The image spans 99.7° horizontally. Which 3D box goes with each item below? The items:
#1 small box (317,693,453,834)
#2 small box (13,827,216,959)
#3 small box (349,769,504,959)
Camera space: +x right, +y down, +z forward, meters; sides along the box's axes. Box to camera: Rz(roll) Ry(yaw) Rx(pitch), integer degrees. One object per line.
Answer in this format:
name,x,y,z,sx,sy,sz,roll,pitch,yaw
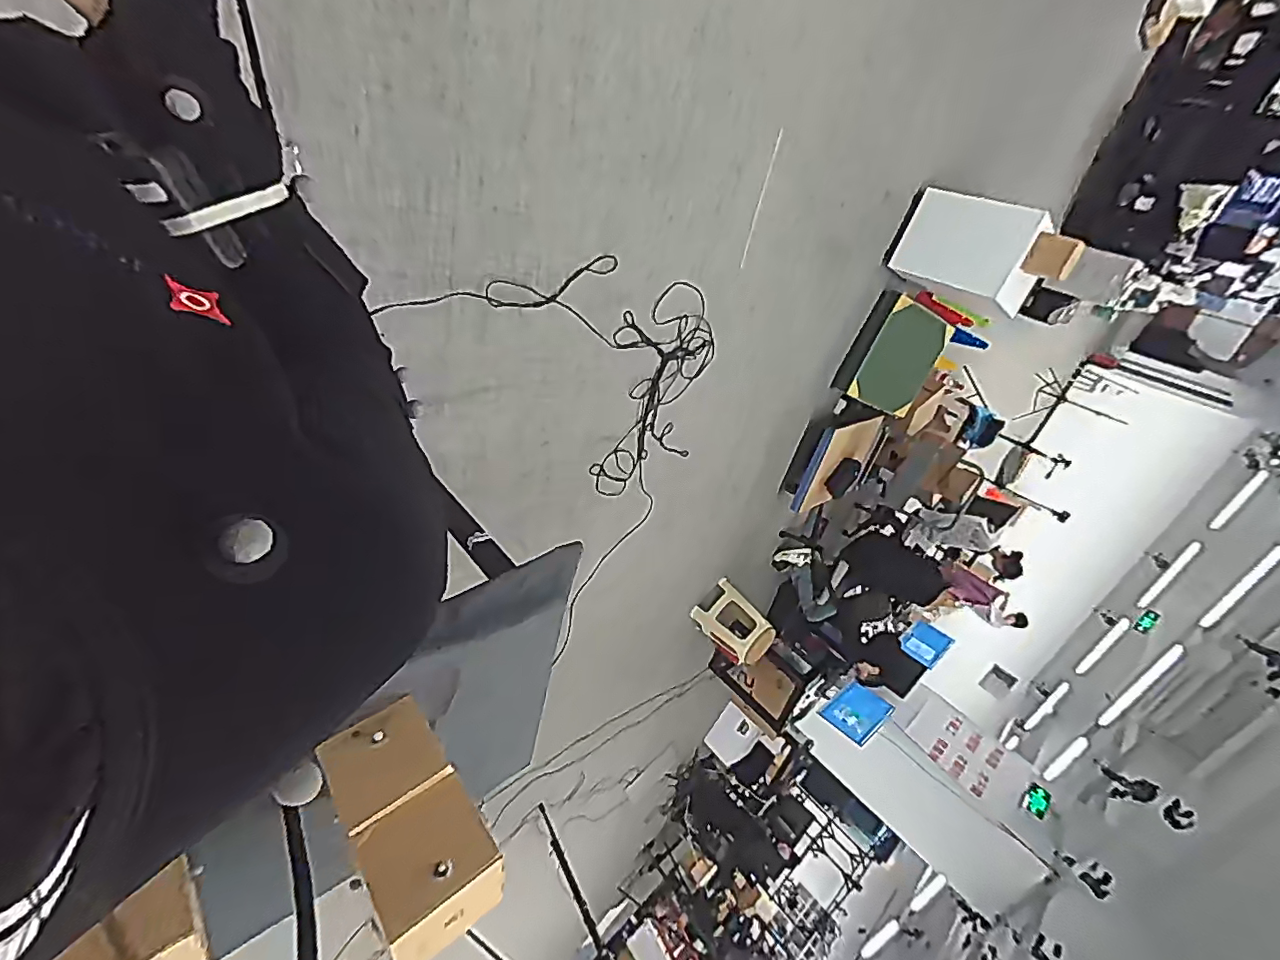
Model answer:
small box,-0.441,0.517,0.955,0.168,0.176,0.179,-25,137,-35
small box,-0.704,0.619,0.733,0.168,0.176,0.179,-15,131,-43
small box,-0.339,0.613,0.870,0.179,0.176,0.168,-20,133,-38
